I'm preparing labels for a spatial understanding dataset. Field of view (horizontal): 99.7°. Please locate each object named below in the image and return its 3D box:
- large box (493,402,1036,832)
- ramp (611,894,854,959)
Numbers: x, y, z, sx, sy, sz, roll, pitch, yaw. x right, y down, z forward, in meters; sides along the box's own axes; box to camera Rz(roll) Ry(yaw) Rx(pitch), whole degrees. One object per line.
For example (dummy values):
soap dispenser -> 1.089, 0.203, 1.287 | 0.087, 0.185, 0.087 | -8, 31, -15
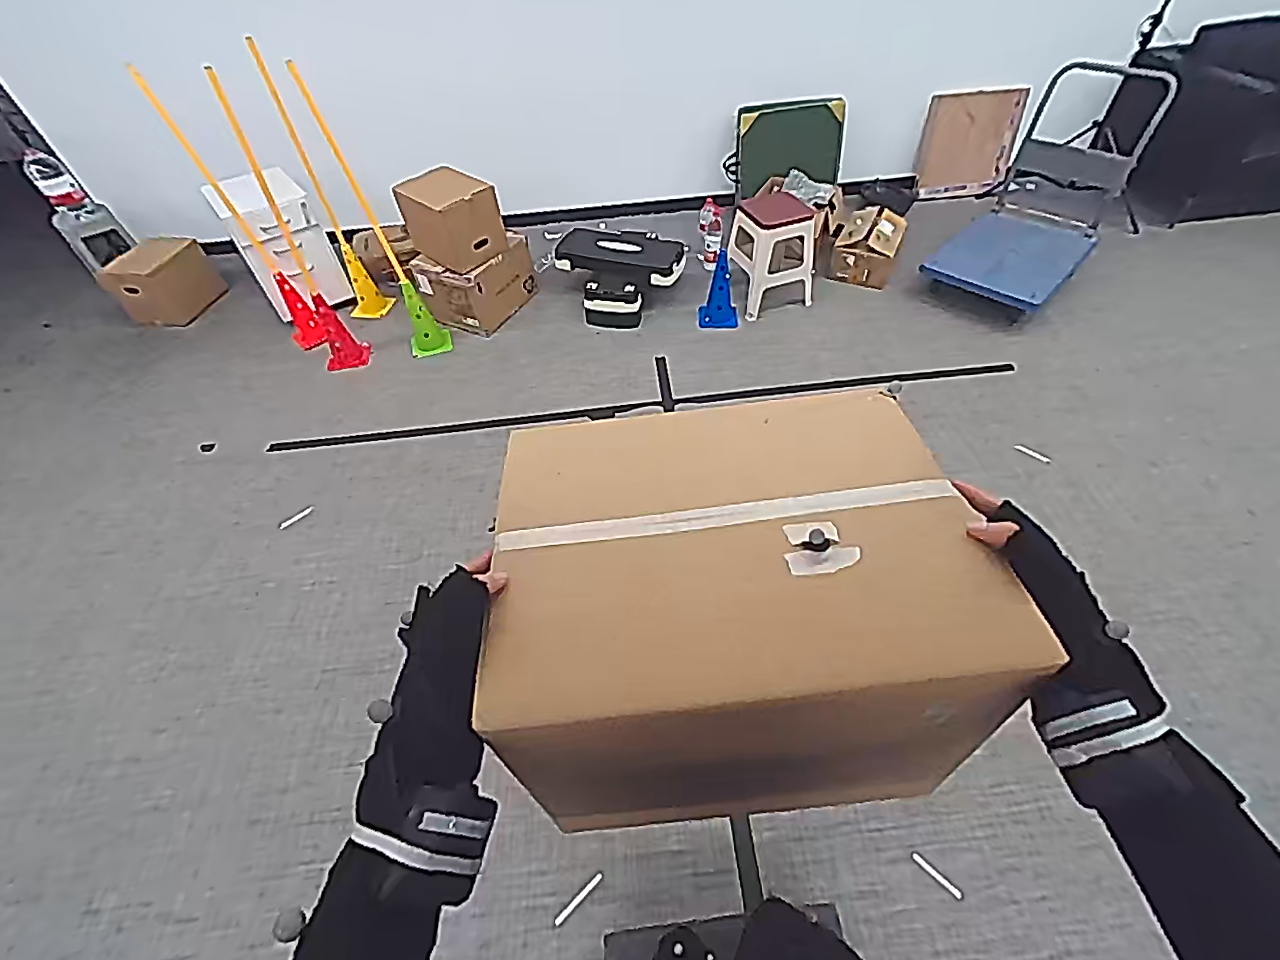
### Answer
large box -> 0.089, 0.150, 0.594 | 0.408, 0.320, 0.320 | -7, 45, 1
ramp -> 0.239, 1.330, 0.891 | 0.509, 0.206, 0.991 | -8, 50, -3
